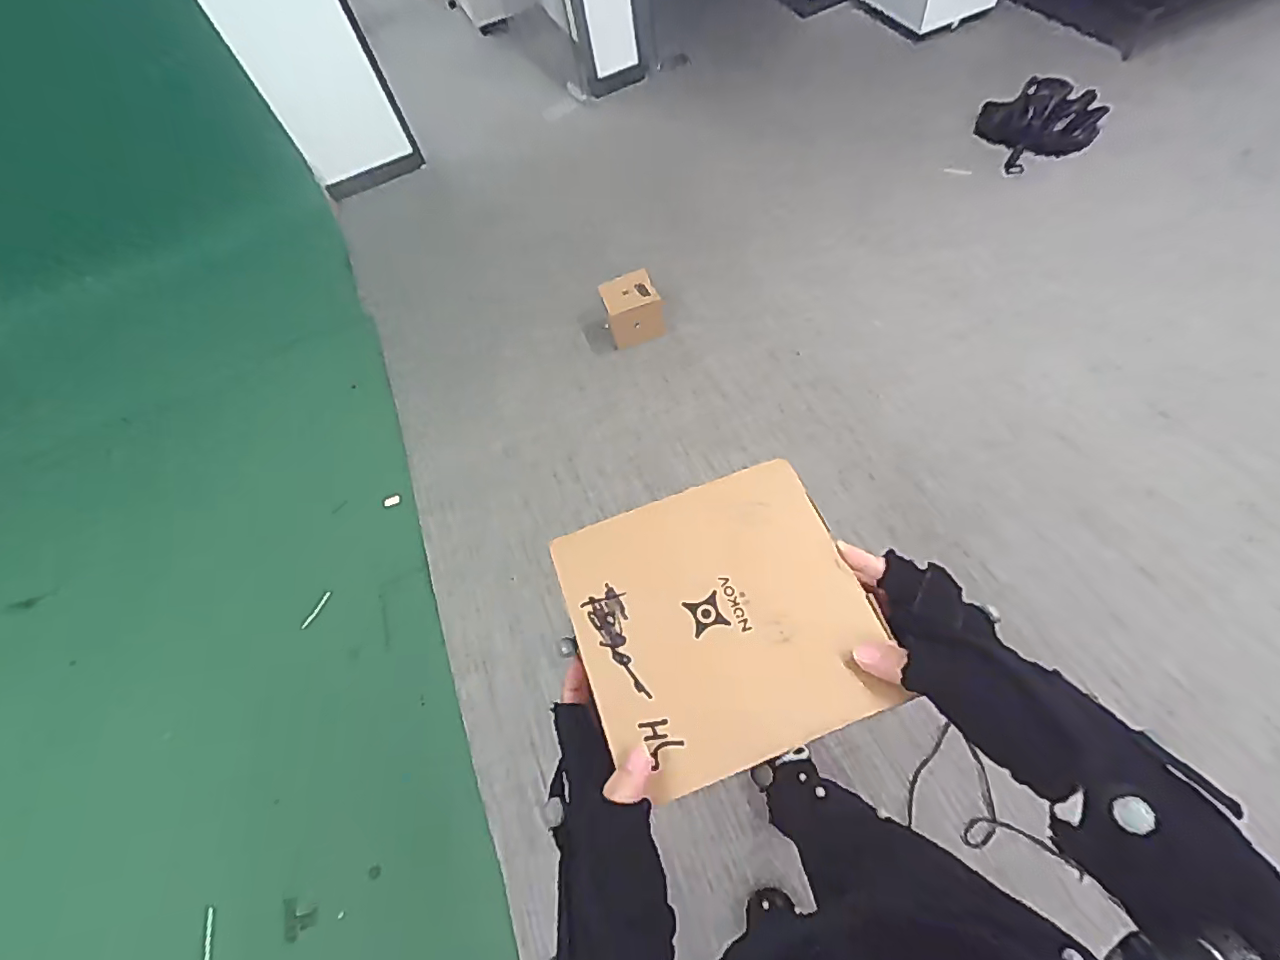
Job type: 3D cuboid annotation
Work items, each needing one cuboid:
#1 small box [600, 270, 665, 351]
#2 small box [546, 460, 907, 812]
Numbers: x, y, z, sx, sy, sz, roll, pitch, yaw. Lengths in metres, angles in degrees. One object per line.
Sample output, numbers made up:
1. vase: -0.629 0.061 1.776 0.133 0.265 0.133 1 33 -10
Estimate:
1. small box: -0.021 -0.578 1.856 0.179 0.176 0.168 -20 59 0
2. small box: 0.050 0.117 0.403 0.179 0.176 0.168 -22 63 -7
